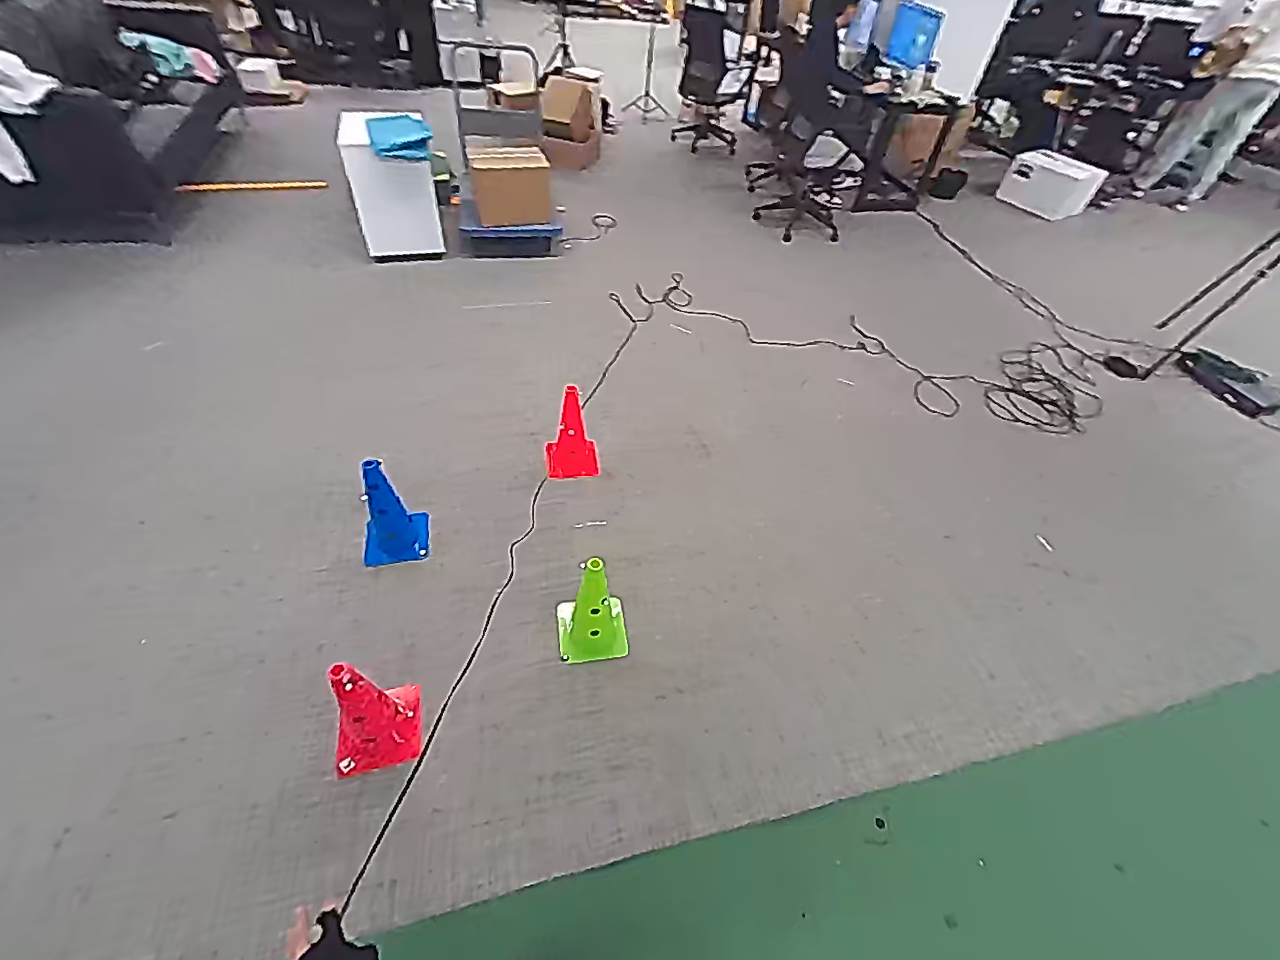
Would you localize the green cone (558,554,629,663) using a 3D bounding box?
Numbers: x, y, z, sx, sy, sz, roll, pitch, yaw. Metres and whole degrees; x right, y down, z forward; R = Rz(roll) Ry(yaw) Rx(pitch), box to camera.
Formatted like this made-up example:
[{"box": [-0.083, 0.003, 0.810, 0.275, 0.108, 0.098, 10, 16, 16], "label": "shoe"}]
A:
[{"box": [-0.127, 0.333, 1.520, 0.200, 0.368, 0.202, -5, 47, -12], "label": "green cone"}]

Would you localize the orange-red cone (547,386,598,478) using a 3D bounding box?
[{"box": [-0.256, -0.198, 2.006, 0.198, 0.360, 0.199, -4, 49, -9], "label": "orange-red cone"}]
